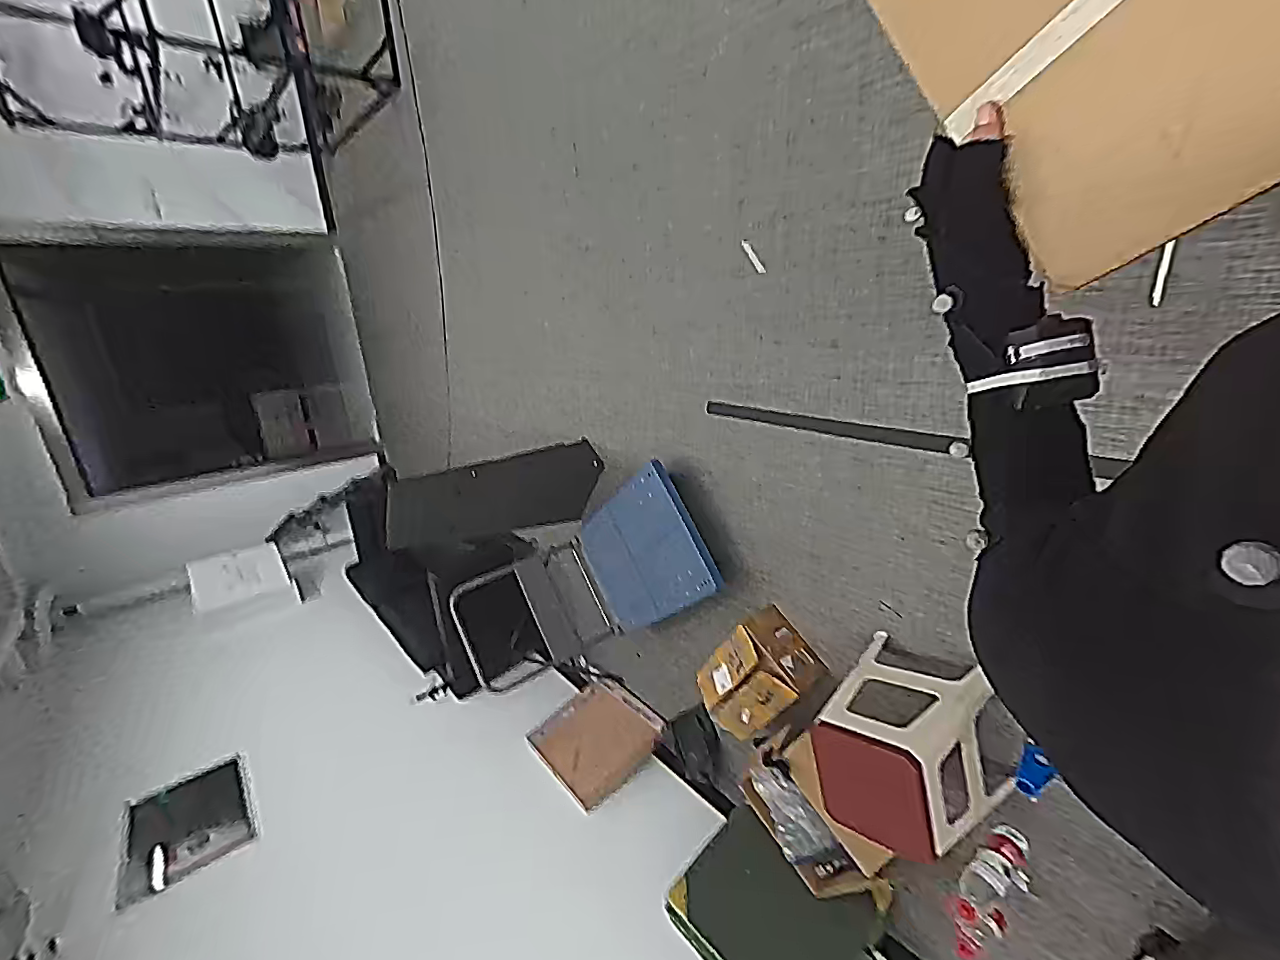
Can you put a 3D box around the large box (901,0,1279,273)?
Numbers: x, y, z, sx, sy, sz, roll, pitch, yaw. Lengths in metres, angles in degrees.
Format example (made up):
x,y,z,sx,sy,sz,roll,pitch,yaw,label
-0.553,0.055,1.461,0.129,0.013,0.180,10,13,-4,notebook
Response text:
x,y,z,sx,sy,sz,roll,pitch,yaw,label
0.456,-0.403,0.335,0.320,0.320,0.408,60,148,1,large box
